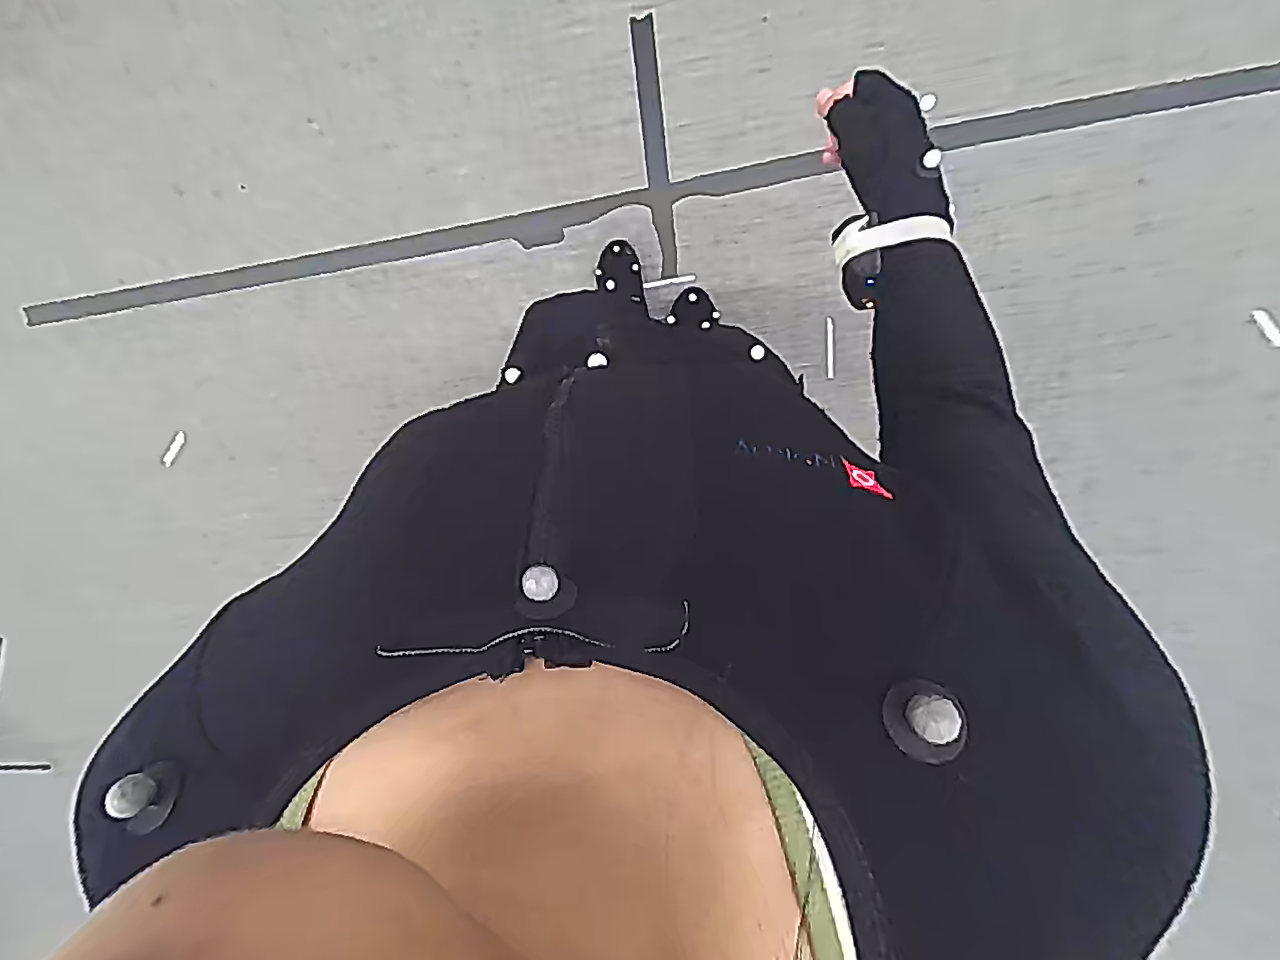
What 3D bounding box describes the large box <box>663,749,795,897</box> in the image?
[{"bbox_3d":[0.285,1.148,1.829,0.408,0.320,0.320,0,111,3],"label":"large box"}]
